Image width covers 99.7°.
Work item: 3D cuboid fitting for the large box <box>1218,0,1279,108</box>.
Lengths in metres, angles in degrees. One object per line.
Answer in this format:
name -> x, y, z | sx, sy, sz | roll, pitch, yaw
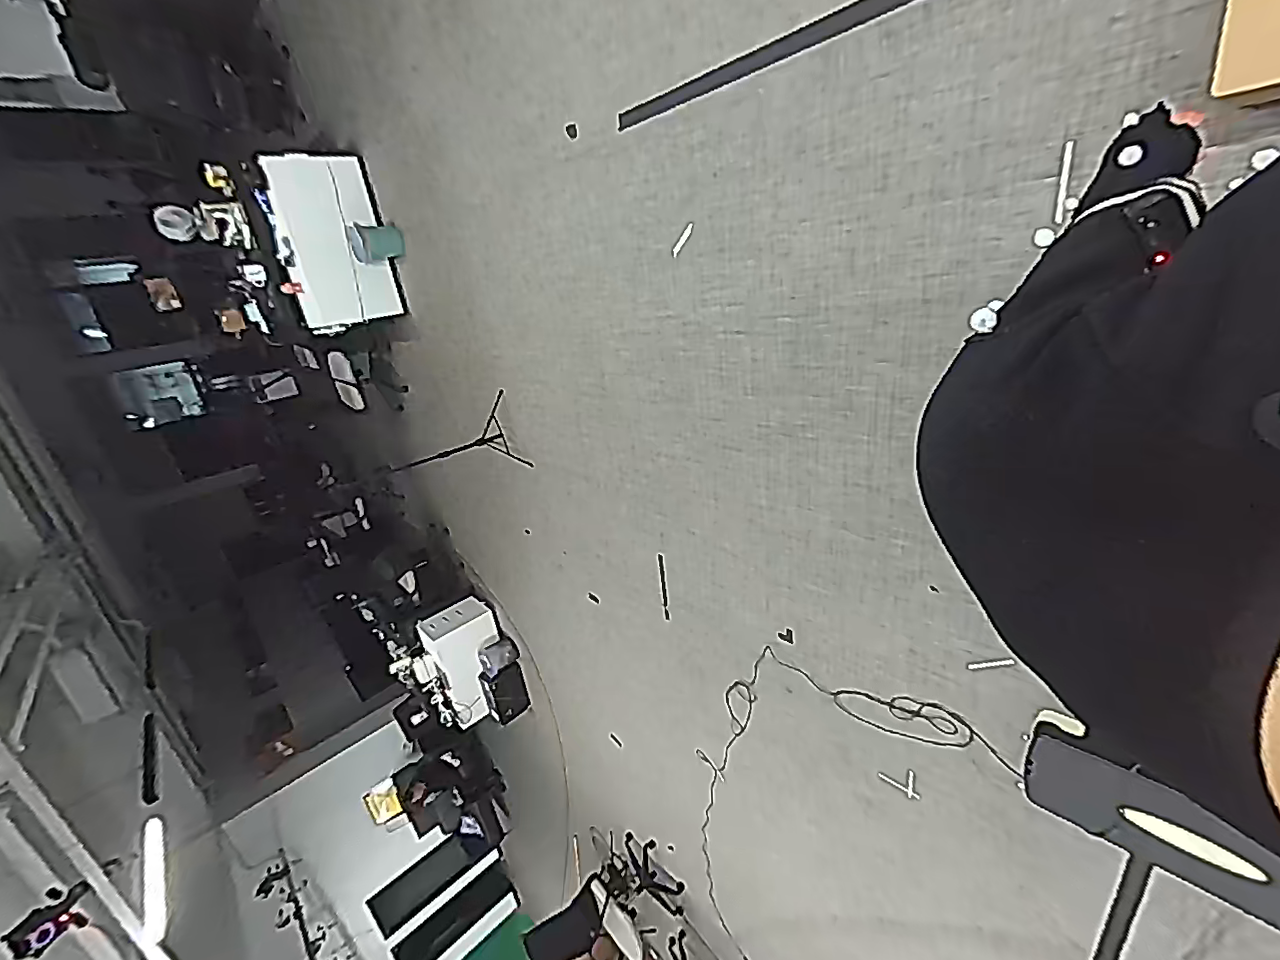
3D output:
large box -> 1.007, -0.693, 0.639 | 0.408, 0.320, 0.320 | 13, 121, 46
